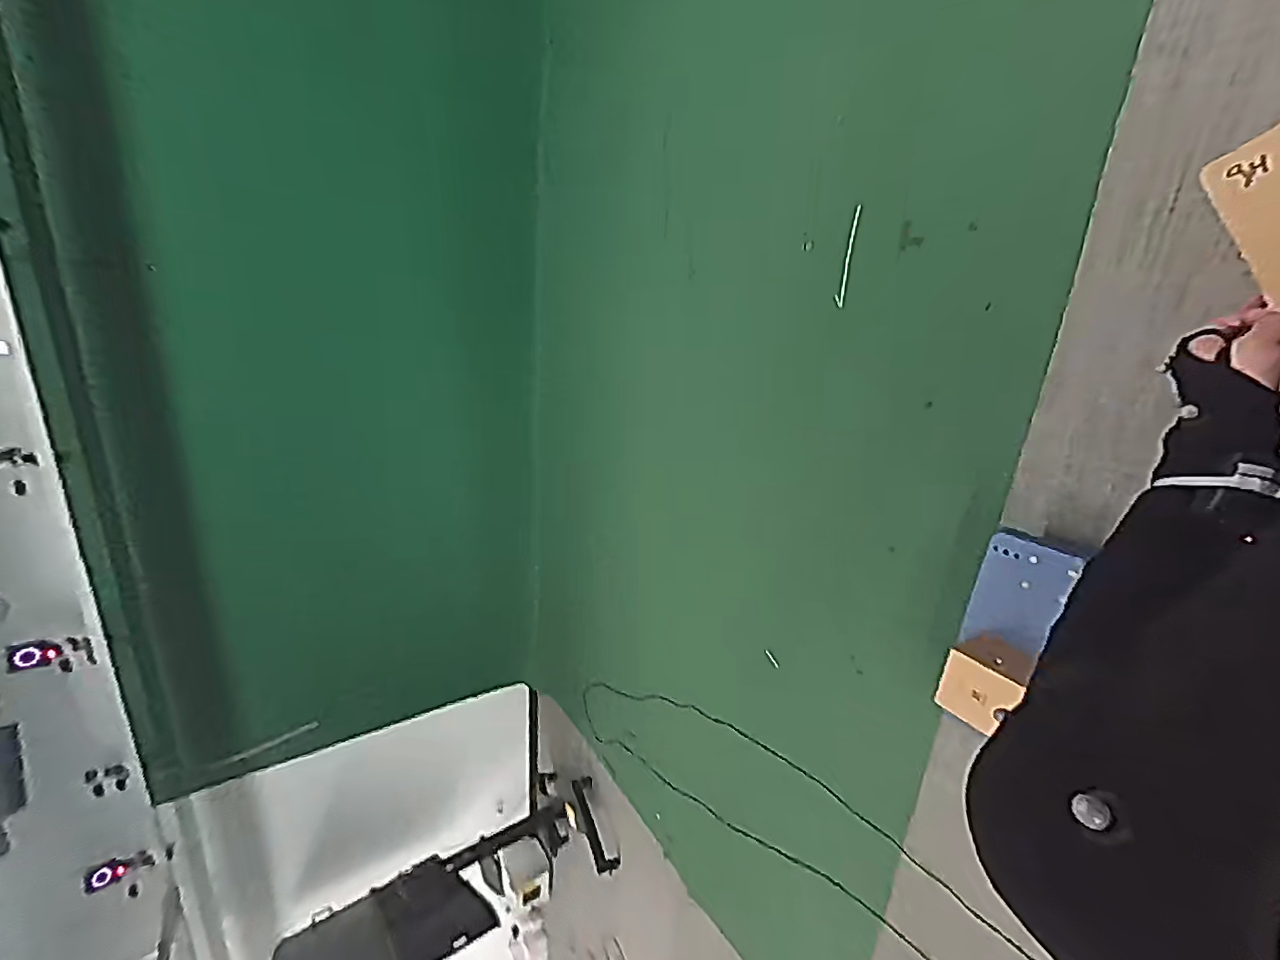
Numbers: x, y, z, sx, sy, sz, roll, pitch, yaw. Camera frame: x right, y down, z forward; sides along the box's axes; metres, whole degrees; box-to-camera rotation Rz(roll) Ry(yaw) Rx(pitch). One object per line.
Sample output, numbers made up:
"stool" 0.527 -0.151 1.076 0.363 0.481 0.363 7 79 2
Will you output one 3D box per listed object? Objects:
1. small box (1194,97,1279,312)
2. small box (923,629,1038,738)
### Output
"small box" 0.655 -0.267 0.481 0.168 0.176 0.179 -26 75 54
"small box" 0.856 0.499 1.358 0.179 0.176 0.168 29 119 48
